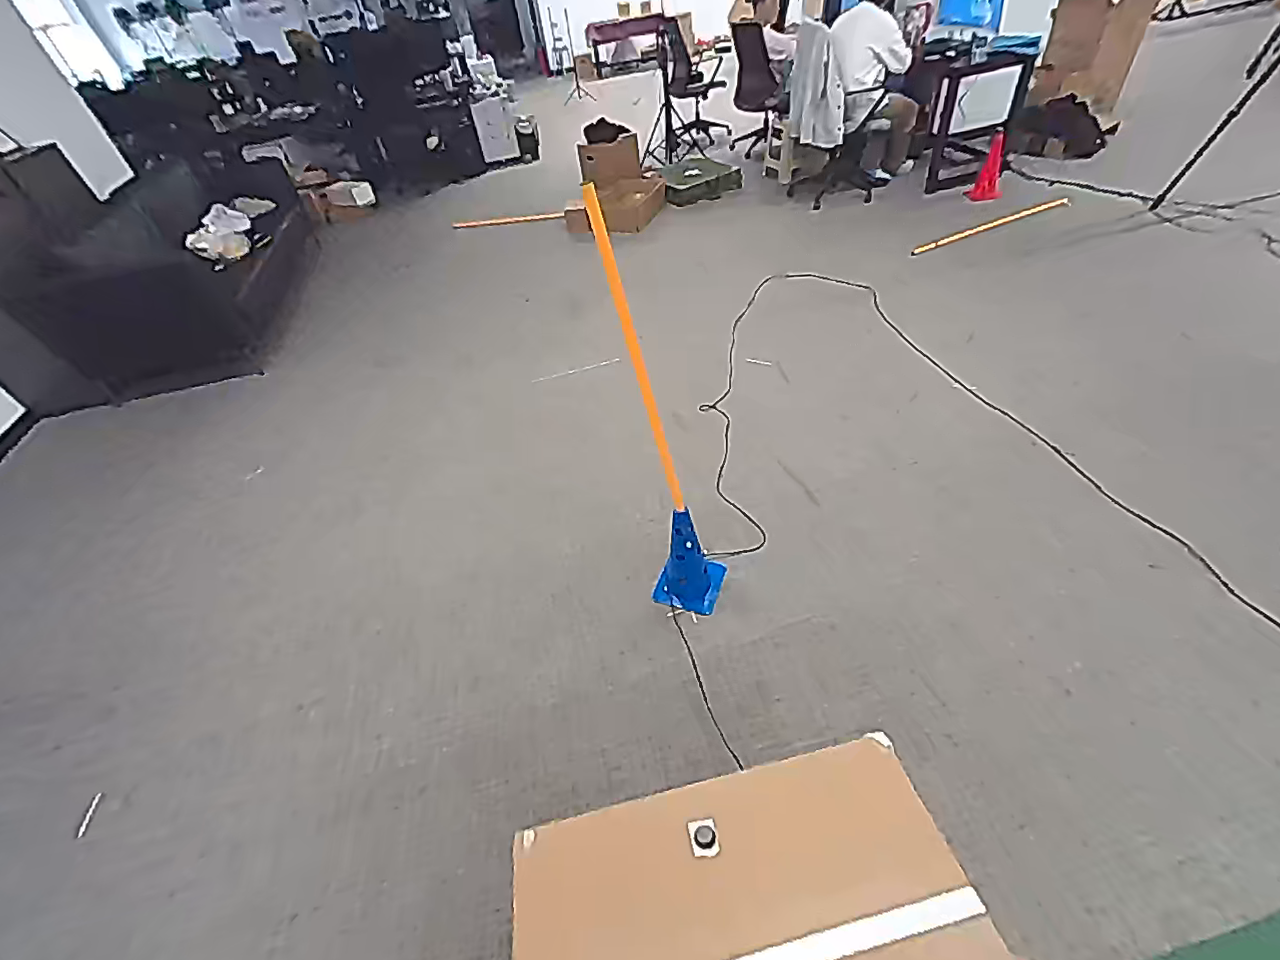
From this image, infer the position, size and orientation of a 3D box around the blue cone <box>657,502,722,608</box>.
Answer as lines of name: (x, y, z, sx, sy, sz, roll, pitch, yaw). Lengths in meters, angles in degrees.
blue cone: (0.137, 0.205, 1.622, 0.192, 0.380, 0.193, 8, 48, 19)
